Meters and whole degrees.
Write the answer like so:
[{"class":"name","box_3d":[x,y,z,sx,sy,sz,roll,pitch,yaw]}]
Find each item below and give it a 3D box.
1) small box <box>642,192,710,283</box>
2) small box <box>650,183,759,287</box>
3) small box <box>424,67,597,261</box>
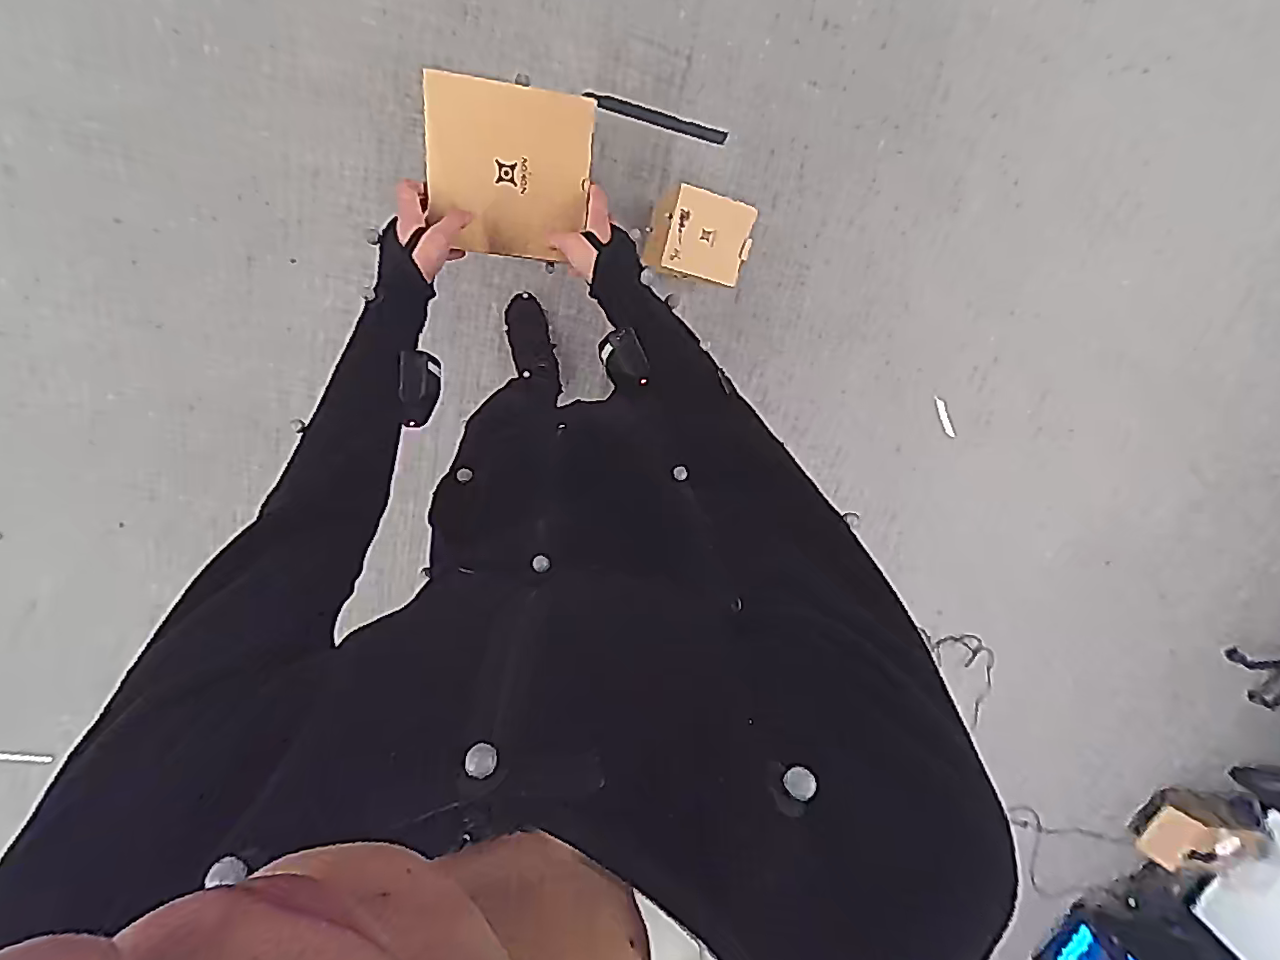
[{"class":"small box","box_3d":[0.113,-0.608,1.373,0.179,0.176,0.168,11,110,-14]},{"class":"small box","box_3d":[0.136,-0.548,1.222,0.179,0.176,0.168,12,109,-14]},{"class":"small box","box_3d":[-0.152,-0.366,0.655,0.179,0.176,0.168,2,114,-12]}]
